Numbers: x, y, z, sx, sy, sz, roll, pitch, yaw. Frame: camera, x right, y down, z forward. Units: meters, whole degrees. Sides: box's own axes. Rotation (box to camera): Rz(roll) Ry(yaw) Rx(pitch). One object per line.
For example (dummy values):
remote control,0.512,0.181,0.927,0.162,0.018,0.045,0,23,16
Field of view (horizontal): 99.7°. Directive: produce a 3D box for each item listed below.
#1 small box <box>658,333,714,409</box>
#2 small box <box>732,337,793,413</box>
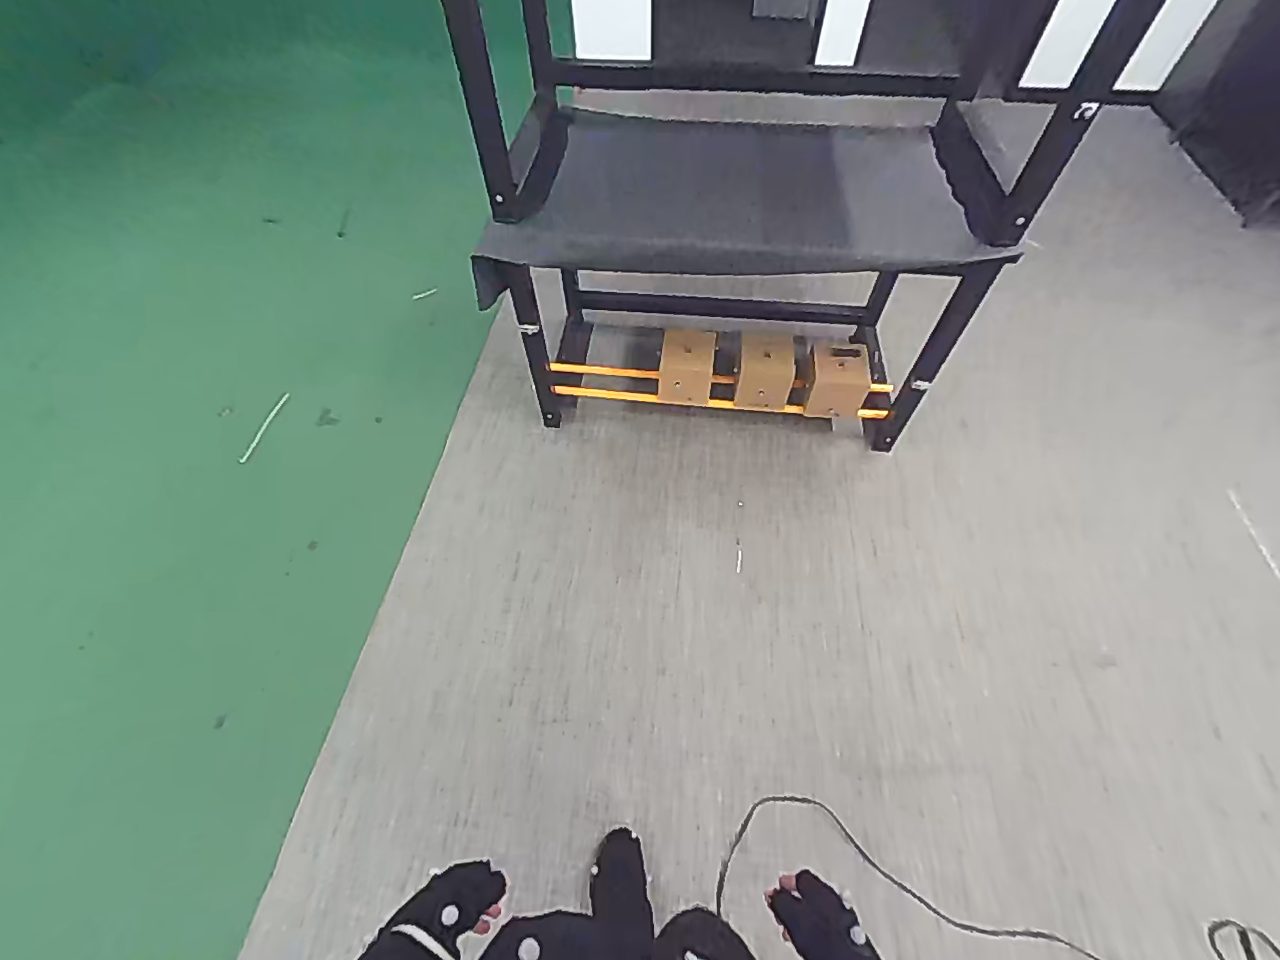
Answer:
small box,0.148,-0.353,1.769,0.168,0.176,0.179,6,57,4
small box,0.394,-0.337,1.754,0.168,0.176,0.179,5,56,4
